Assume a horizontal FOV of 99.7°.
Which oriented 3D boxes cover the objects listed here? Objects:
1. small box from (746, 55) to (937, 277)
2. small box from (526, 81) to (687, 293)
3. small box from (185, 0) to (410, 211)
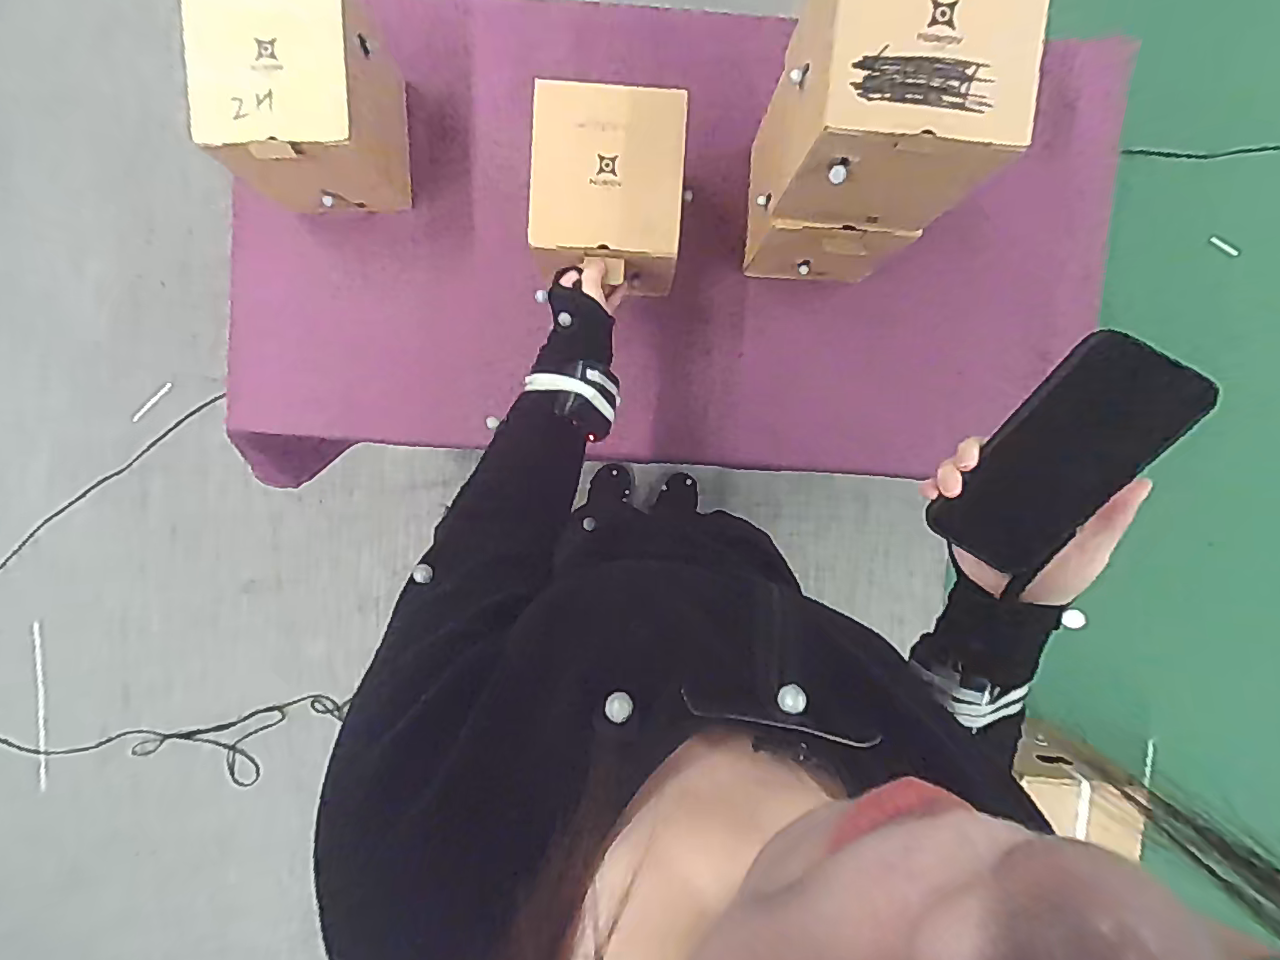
[{"bbox_3d":[0.231,-0.367,0.662,0.168,0.176,0.179,3,95,-1],"label":"small box"},{"bbox_3d":[-0.037,-0.338,0.659,0.168,0.176,0.179,3,94,-2],"label":"small box"},{"bbox_3d":[-0.391,-0.447,0.645,0.168,0.176,0.179,-1,94,-1],"label":"small box"}]
